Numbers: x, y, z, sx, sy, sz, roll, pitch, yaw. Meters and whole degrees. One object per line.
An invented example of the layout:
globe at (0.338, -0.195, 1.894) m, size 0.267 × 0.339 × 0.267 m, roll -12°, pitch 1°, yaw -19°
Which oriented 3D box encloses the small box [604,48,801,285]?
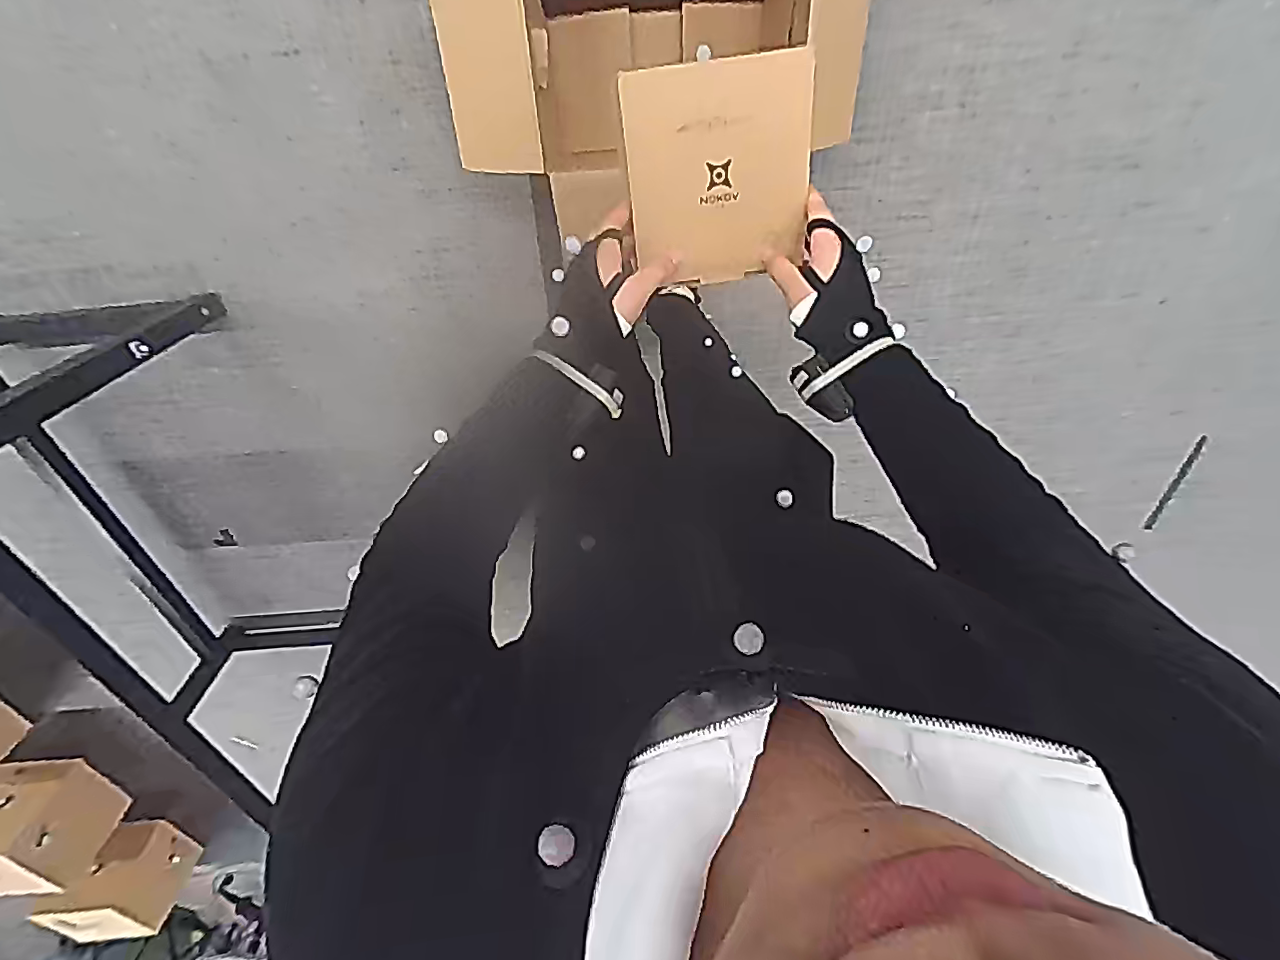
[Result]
small box at (0.057, -0.323, 0.562) m, size 0.168 × 0.176 × 0.179 m, roll -9°, pitch 124°, yaw 0°

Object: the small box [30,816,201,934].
small box at (-1.145, 0.874, 1.201) m, size 0.179 × 0.176 × 0.168 m, roll -6°, pitch 126°, yaw 1°

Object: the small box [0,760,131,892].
small box at (-1.164, 0.660, 1.042) m, size 0.168 × 0.176 × 0.179 m, roll -4°, pitch 126°, yaw 2°

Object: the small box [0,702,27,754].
small box at (-1.183, 0.424, 0.869) m, size 0.168 × 0.176 × 0.179 m, roll -3°, pitch 127°, yaw 0°
